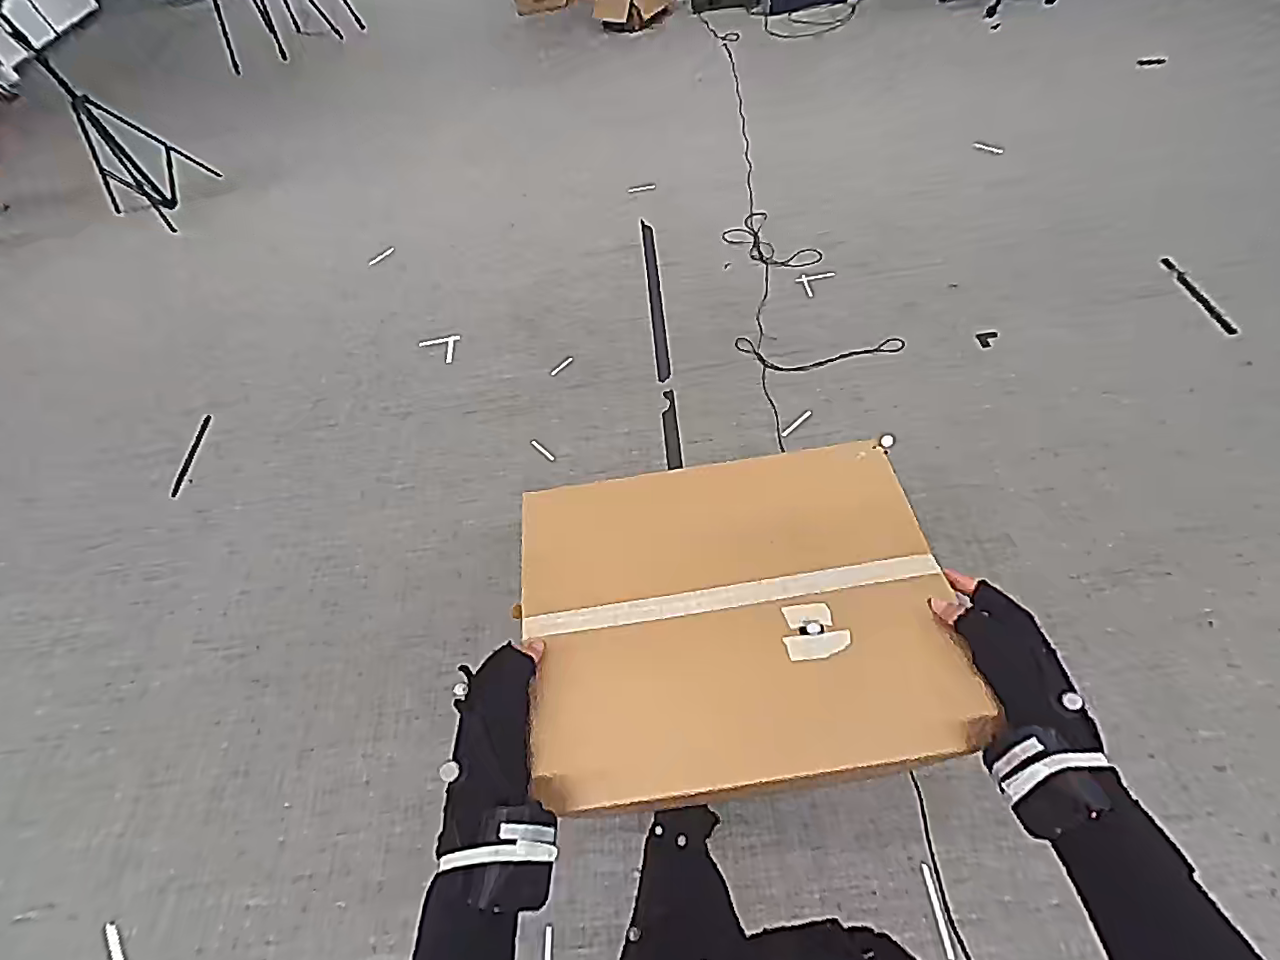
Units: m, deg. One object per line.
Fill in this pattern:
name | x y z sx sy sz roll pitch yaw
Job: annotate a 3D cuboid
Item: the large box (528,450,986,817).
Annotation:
large box | 0.098 0.204 0.671 0.408 0.320 0.320 -9 58 0
